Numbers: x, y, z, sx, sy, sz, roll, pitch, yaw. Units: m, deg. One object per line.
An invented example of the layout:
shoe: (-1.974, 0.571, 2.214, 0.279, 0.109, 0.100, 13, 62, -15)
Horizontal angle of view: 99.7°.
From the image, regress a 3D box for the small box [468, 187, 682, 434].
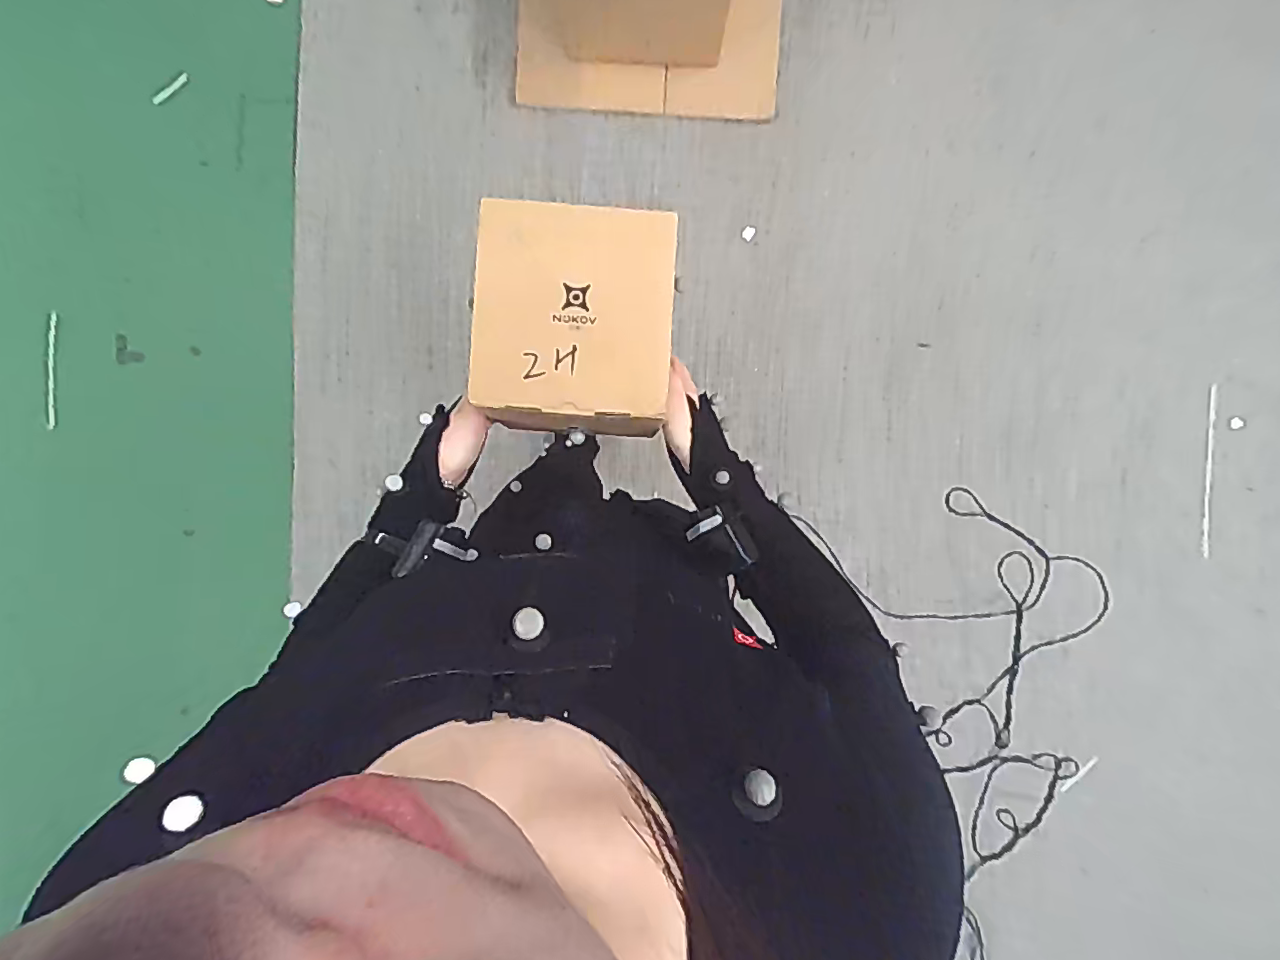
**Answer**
small box: (-0.056, -0.146, 0.524, 0.168, 0.176, 0.179, 4, 88, -2)
